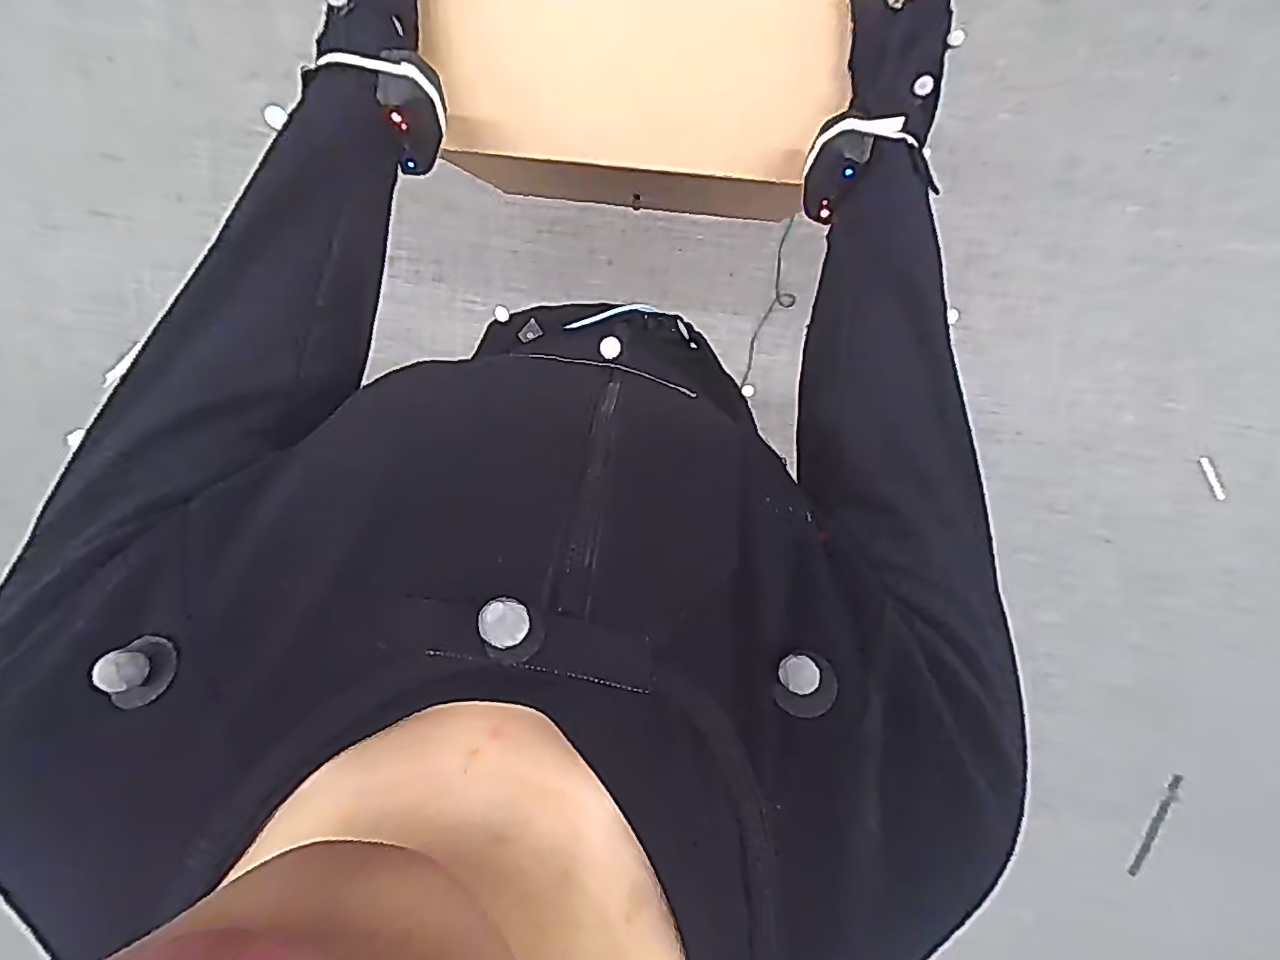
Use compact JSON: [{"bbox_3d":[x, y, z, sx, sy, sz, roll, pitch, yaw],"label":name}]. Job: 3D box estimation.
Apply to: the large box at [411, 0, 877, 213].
[{"bbox_3d":[0.013,-0.487,0.588,0.408,0.320,0.320,6,110,1],"label":"large box"}]
